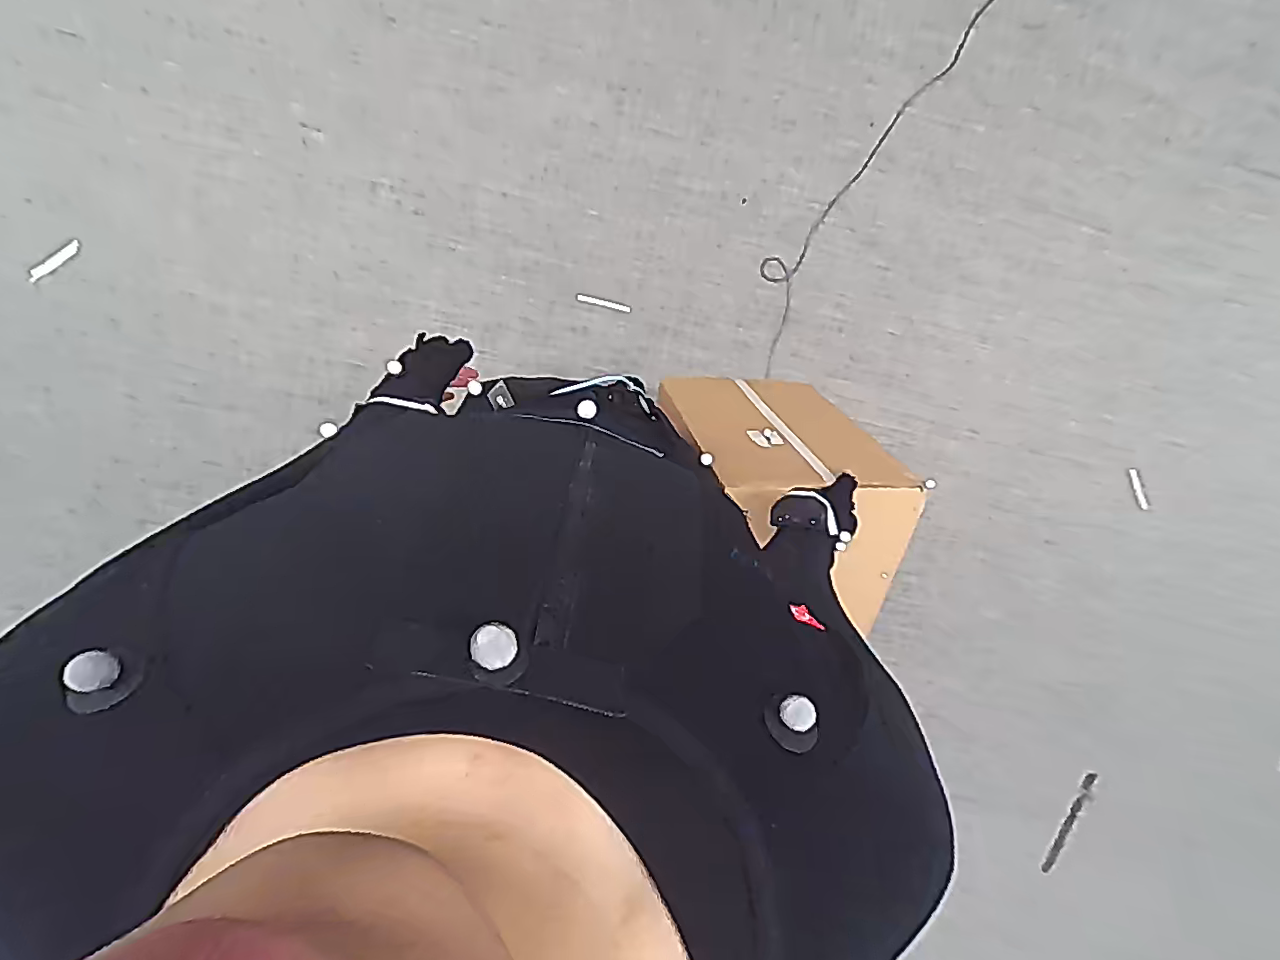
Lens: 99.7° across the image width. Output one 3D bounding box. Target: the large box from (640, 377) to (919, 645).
[{"bbox_3d":[0.201,0.035,0.986,0.320,0.408,0.320,-1,122,-12],"label":"large box"}]
